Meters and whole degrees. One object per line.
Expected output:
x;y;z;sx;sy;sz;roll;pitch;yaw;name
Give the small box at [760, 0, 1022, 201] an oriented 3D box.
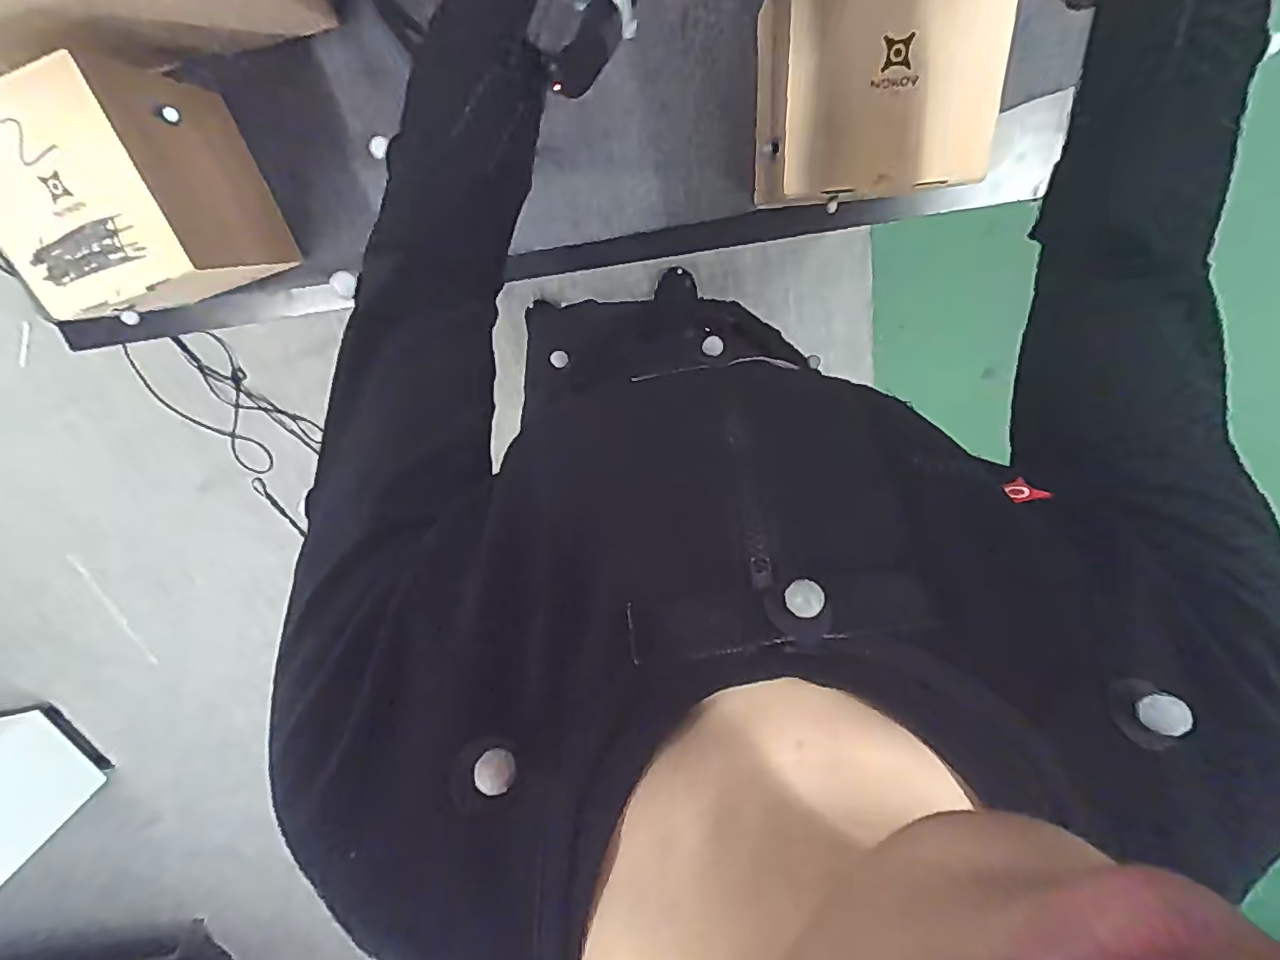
0.202;-0.356;0.484;0.168;0.176;0.179;-2;116;5;small box
